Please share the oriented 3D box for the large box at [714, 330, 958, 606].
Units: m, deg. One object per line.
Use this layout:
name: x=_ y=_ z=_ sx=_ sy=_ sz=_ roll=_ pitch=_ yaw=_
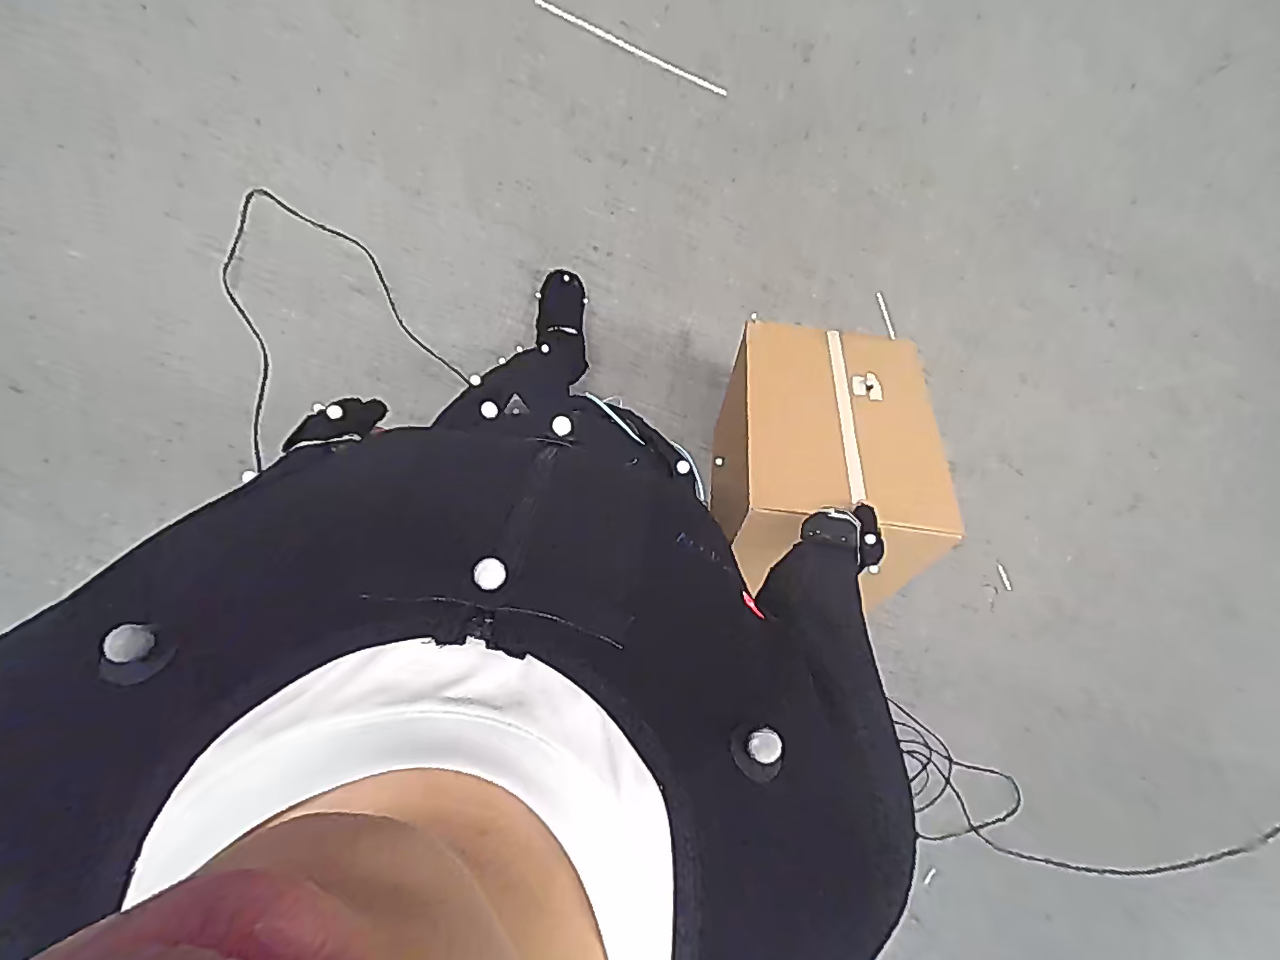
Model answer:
large box: x=0.317 y=-0.017 z=1.015 sx=0.320 sy=0.408 sz=0.320 roll=8 pitch=145 yaw=-1
